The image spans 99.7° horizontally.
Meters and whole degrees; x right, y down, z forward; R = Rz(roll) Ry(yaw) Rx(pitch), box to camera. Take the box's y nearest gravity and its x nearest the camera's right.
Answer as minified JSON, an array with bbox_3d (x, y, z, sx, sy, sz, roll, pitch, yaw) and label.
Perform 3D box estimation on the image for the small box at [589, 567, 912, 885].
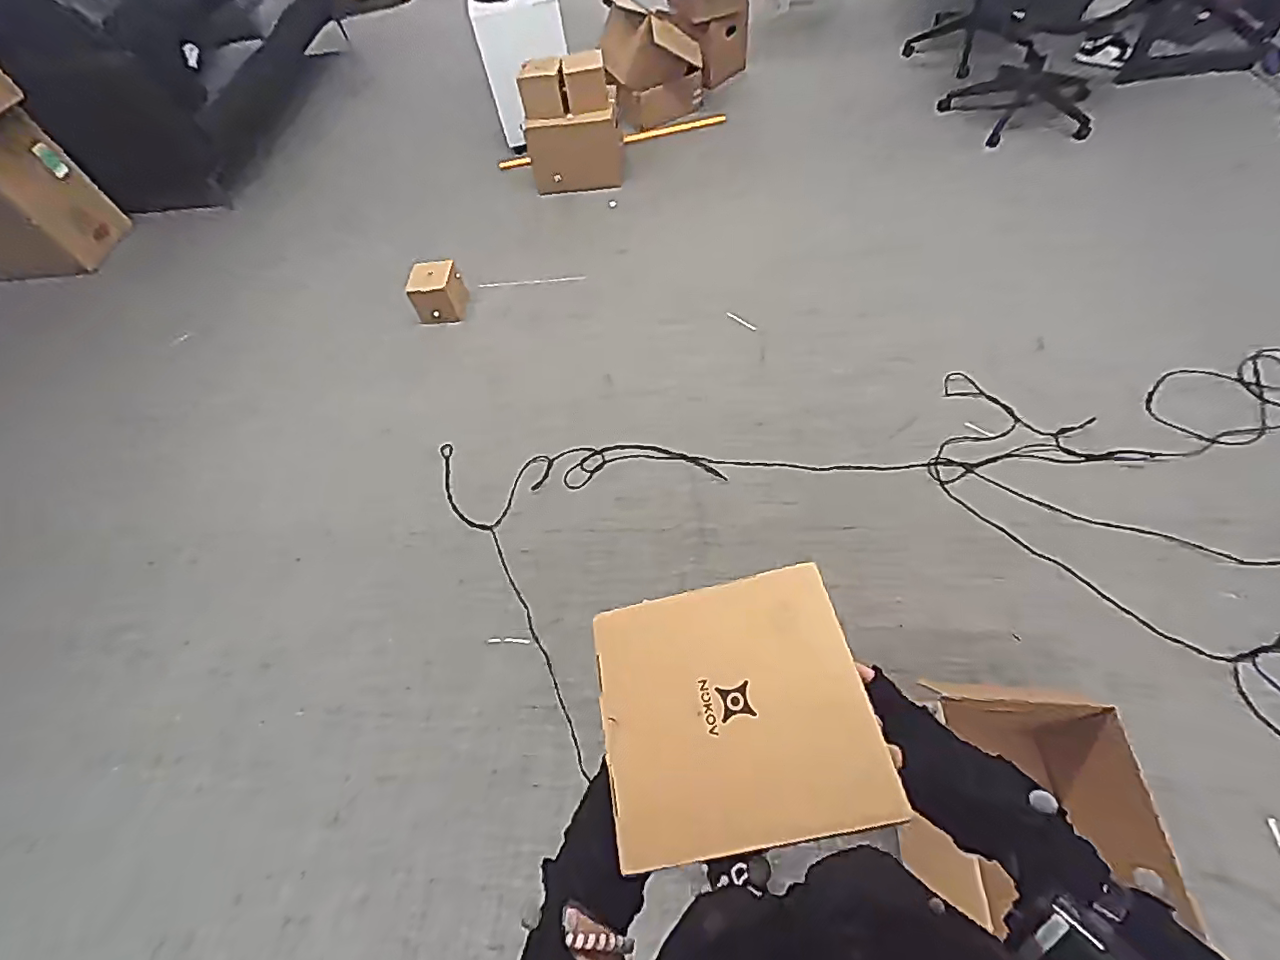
[{"bbox_3d":[0.075,0.191,0.417,0.179,0.176,0.168,-16,55,6],"label":"small box"}]

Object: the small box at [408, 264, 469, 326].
[{"bbox_3d":[-0.815,-0.753,2.208,0.168,0.176,0.179,-3,58,6],"label":"small box"}]
